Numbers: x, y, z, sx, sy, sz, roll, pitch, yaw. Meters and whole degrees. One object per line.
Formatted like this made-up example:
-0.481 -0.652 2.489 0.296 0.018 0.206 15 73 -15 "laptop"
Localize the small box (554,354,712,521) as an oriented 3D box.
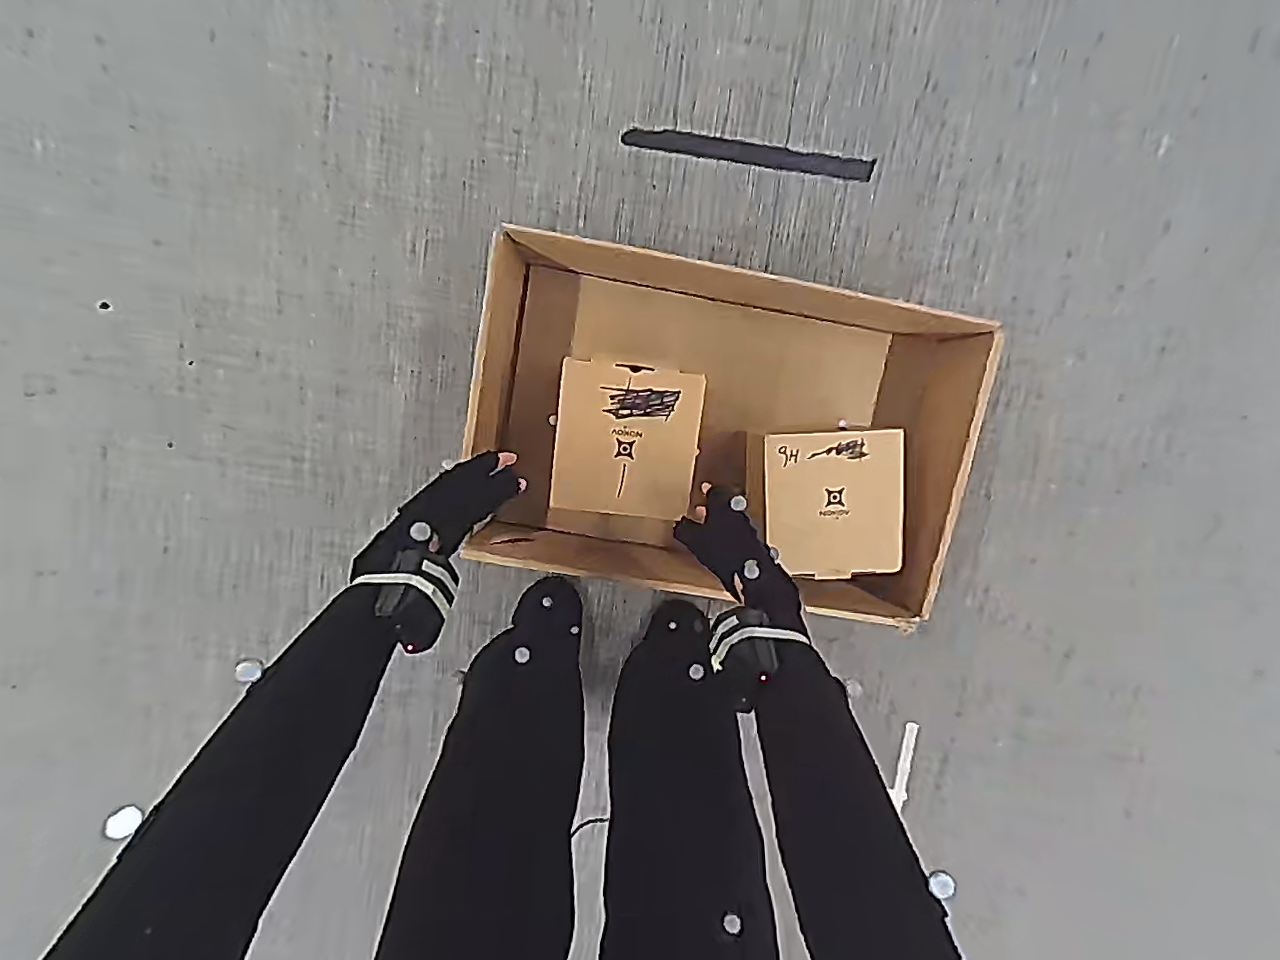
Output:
-0.014 -0.057 0.699 0.168 0.176 0.179 7 98 -4 "small box"
